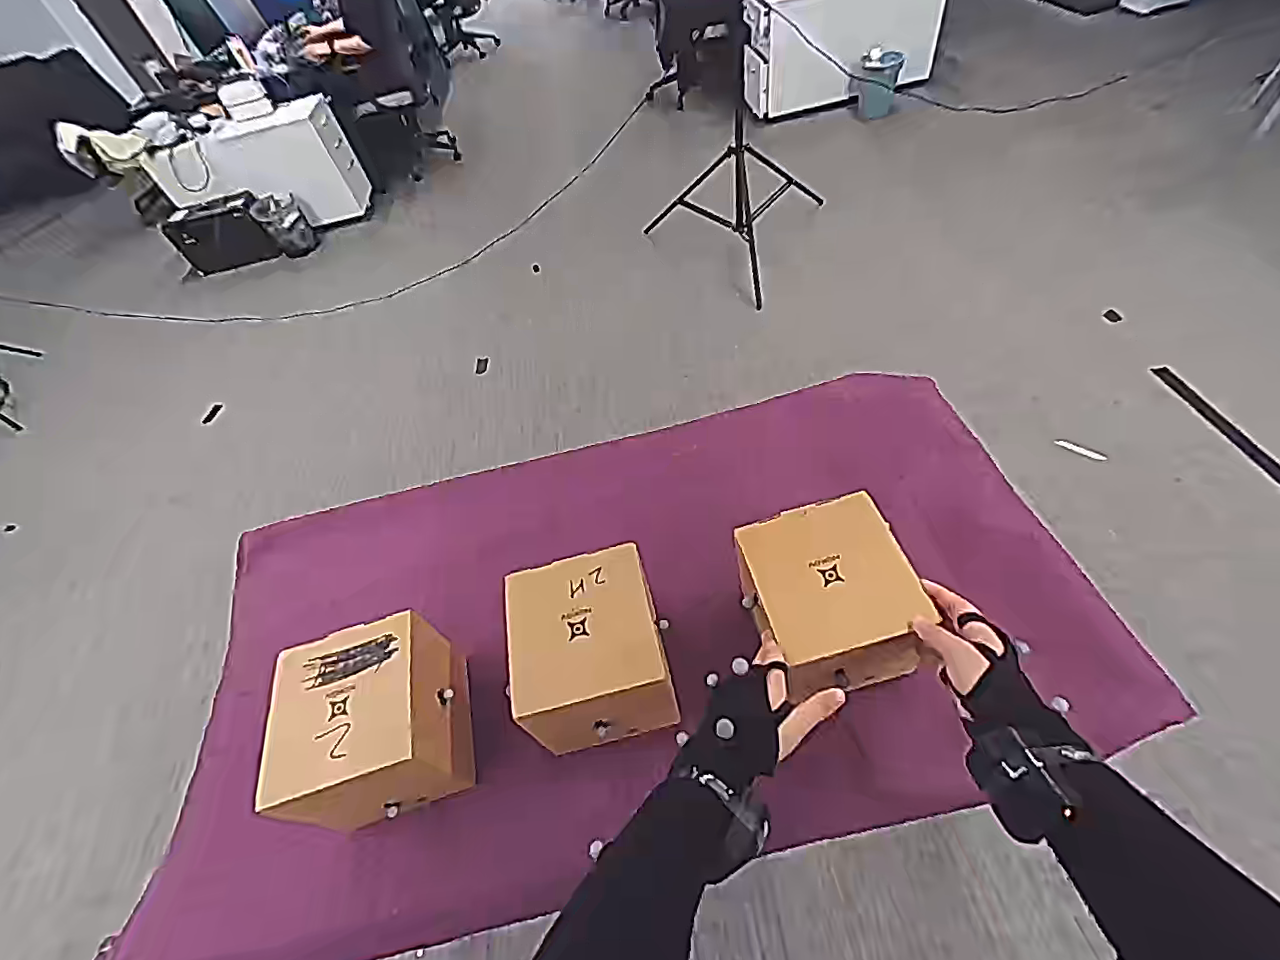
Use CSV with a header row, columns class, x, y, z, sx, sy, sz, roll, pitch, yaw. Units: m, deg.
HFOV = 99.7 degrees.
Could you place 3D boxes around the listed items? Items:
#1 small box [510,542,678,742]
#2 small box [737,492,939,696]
class,x,y,z,sx,sy,sz,roll,pitch,yaw
small box,-0.054,0.209,0.674,0.168,0.176,0.179,-14,50,-1
small box,0.228,0.148,0.663,0.168,0.176,0.179,-17,51,2
